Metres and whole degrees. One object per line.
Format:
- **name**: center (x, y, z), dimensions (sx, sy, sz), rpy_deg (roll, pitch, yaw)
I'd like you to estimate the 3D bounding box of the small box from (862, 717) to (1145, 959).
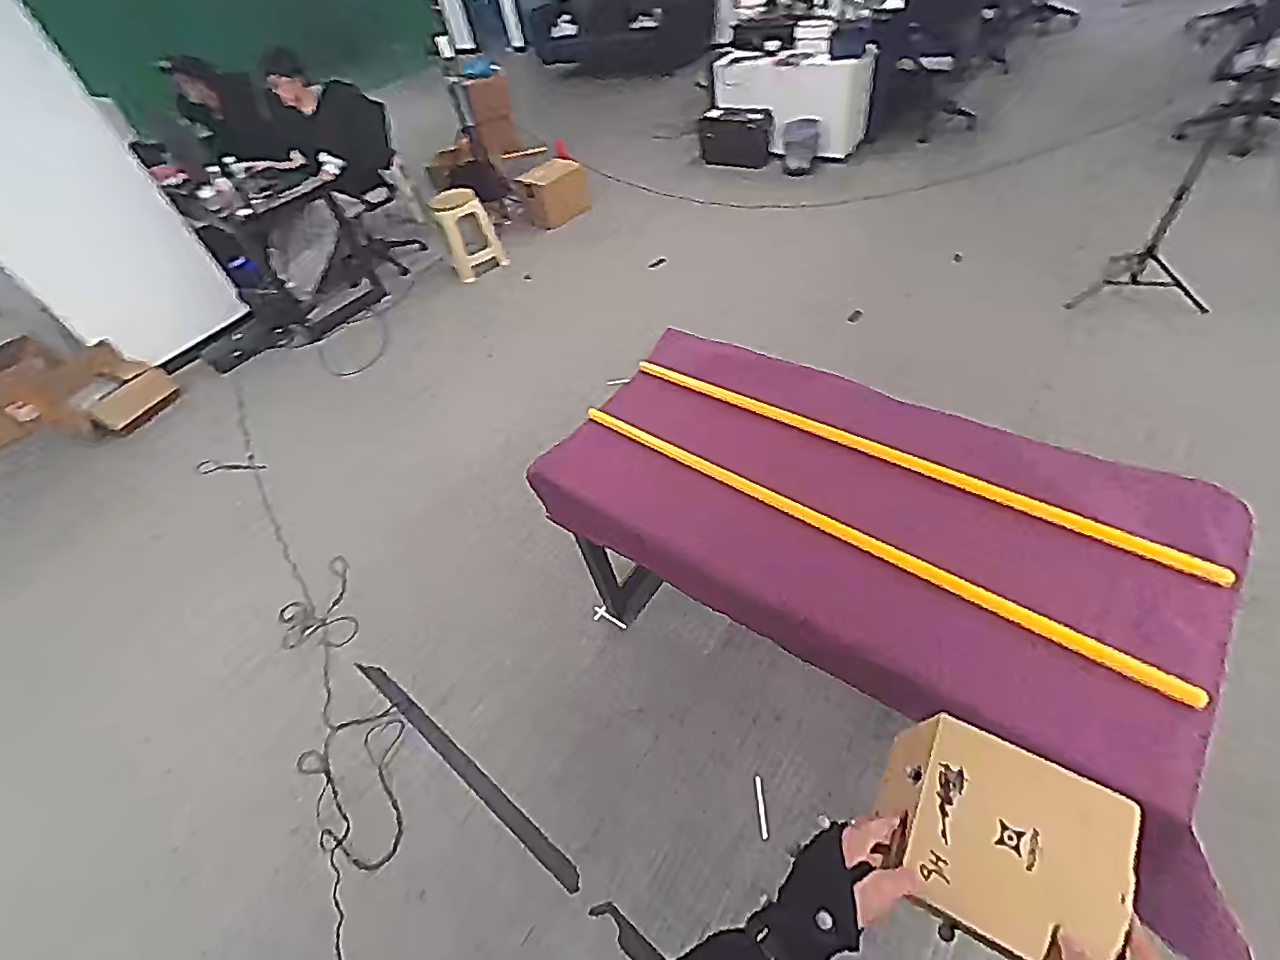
- **small box**: center (0.357, 0.372, 0.557), dimensions (0.179, 0.176, 0.168), rpy_deg (22, 64, 19)
